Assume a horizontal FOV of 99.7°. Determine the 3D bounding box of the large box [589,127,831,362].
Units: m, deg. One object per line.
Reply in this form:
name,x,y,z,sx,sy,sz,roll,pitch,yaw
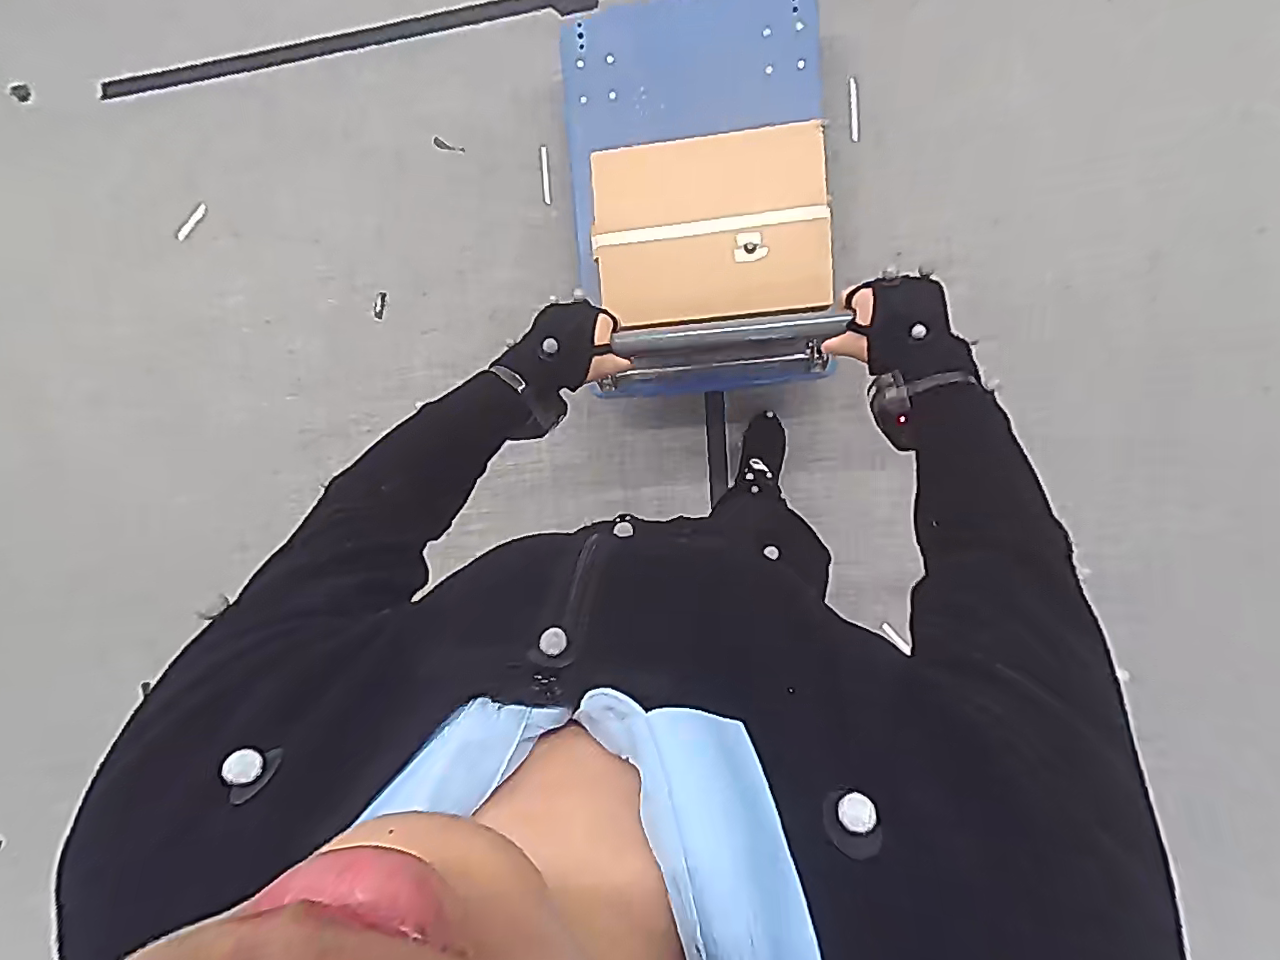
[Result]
large box,0.133,-0.437,1.092,0.408,0.320,0.320,-5,93,6
